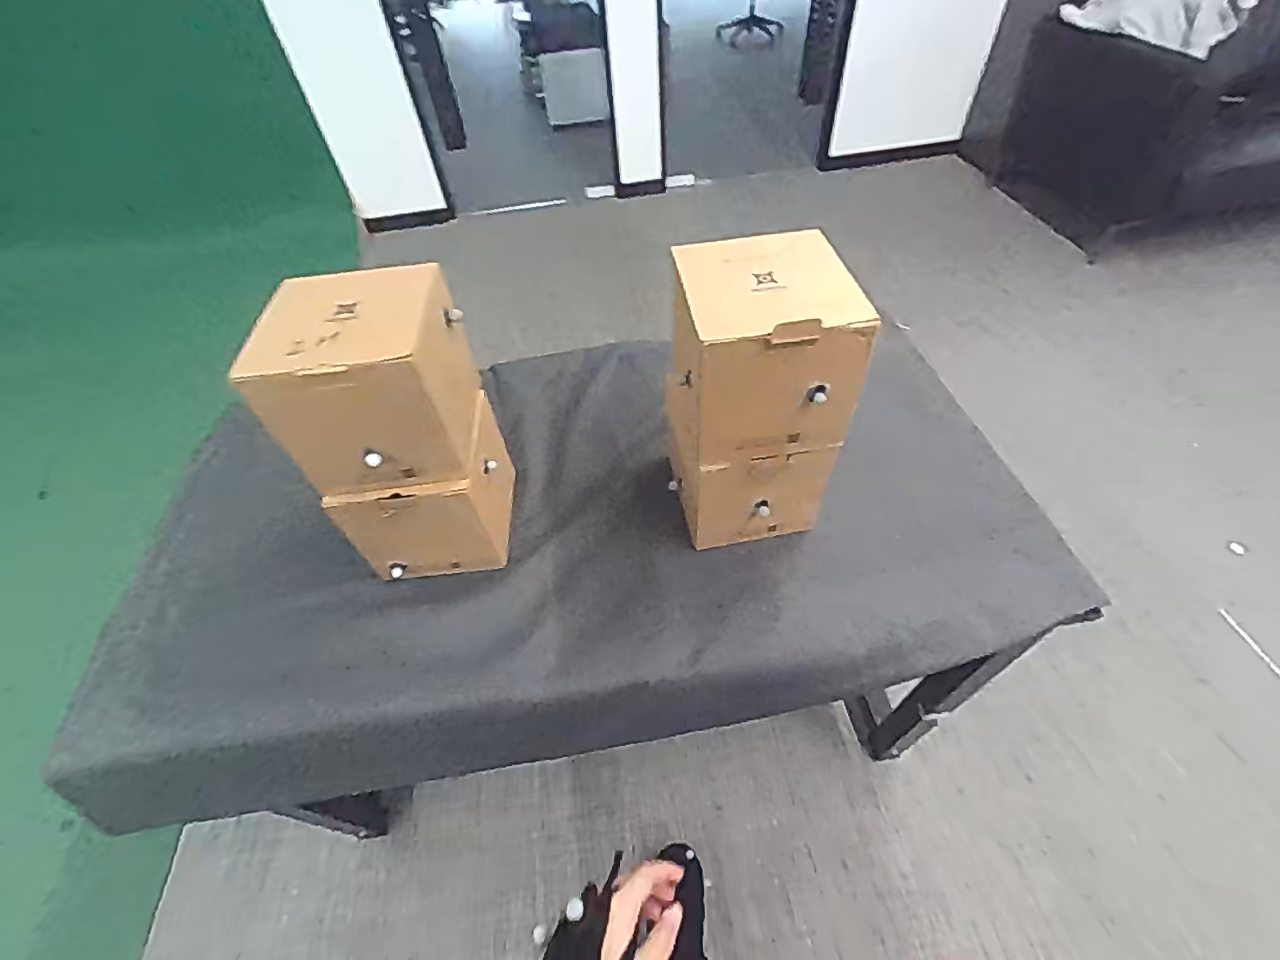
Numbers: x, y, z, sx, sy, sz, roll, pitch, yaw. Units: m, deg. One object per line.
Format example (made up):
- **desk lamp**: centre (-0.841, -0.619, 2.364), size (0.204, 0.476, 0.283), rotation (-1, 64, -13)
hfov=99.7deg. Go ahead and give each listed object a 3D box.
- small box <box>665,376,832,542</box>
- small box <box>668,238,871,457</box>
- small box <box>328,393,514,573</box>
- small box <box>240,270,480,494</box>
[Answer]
- **small box**: centre (0.132, -0.033, 0.722), size (0.168, 0.176, 0.179), rotation (-10, 50, -4)
- **small box**: centre (0.126, -0.139, 0.598), size (0.168, 0.176, 0.179), rotation (-7, 49, -2)
- **small box**: centre (-0.271, 0.011, 0.719), size (0.168, 0.176, 0.179), rotation (-6, 49, 0)
- **small box**: centre (-0.286, -0.108, 0.604), size (0.168, 0.176, 0.179), rotation (-8, 49, -1)
